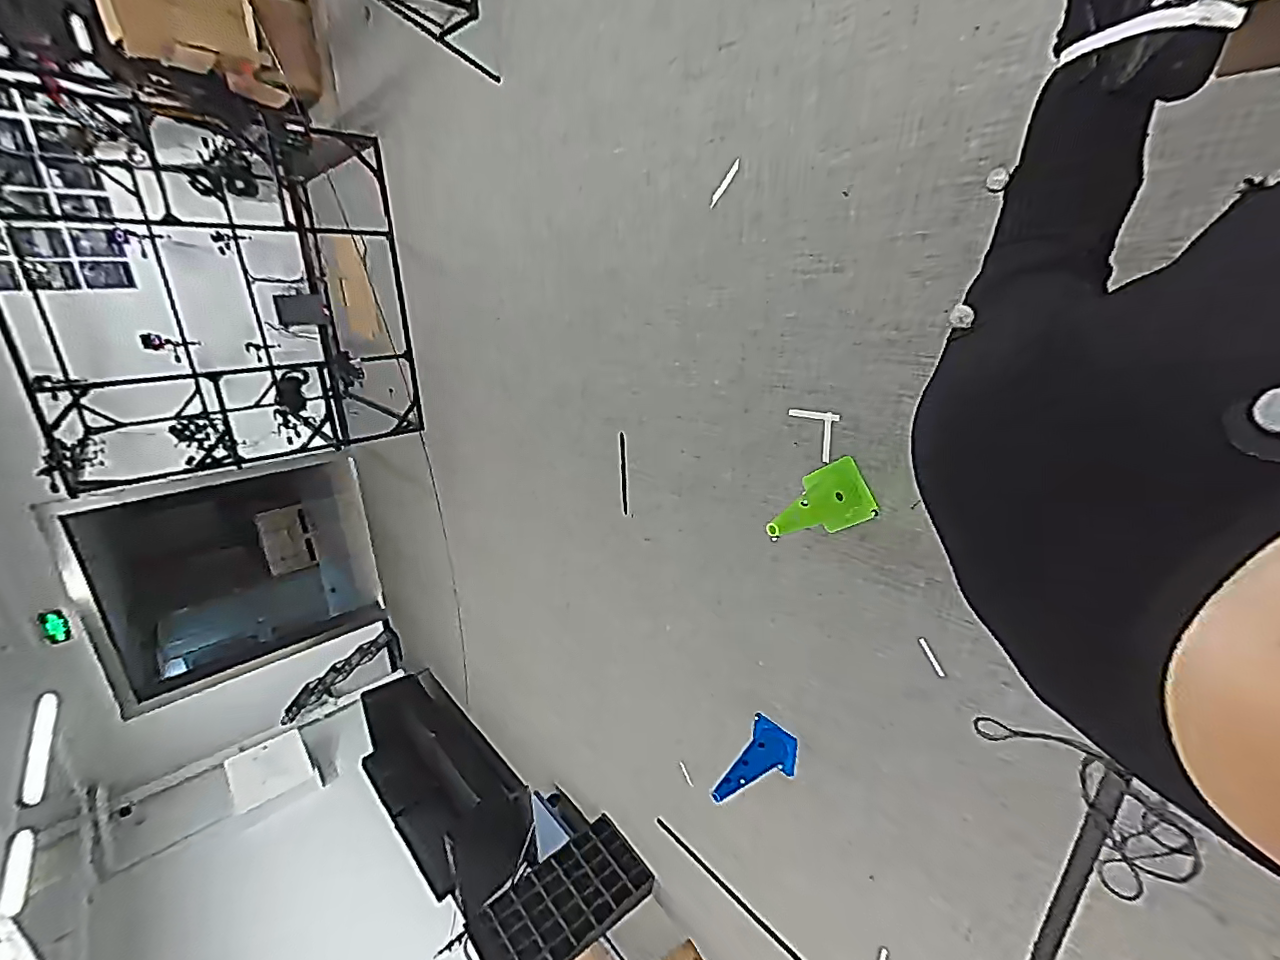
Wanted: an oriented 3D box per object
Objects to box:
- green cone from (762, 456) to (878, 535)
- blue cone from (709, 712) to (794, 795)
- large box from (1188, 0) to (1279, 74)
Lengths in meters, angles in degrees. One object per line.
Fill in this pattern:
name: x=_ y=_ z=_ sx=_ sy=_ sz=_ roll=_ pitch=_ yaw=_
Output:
green cone: x=0.487 y=0.084 z=1.573 sx=0.202 sy=0.368 sz=0.200 roll=-36 pitch=75 yaw=52
blue cone: x=0.414 y=1.093 z=2.082 sx=0.192 sy=0.380 sz=0.193 roll=25 pitch=122 yaw=44
large box: x=0.577 y=-0.444 z=0.245 sx=0.408 sy=0.320 sz=0.320 roll=19 pitch=123 yaw=43
